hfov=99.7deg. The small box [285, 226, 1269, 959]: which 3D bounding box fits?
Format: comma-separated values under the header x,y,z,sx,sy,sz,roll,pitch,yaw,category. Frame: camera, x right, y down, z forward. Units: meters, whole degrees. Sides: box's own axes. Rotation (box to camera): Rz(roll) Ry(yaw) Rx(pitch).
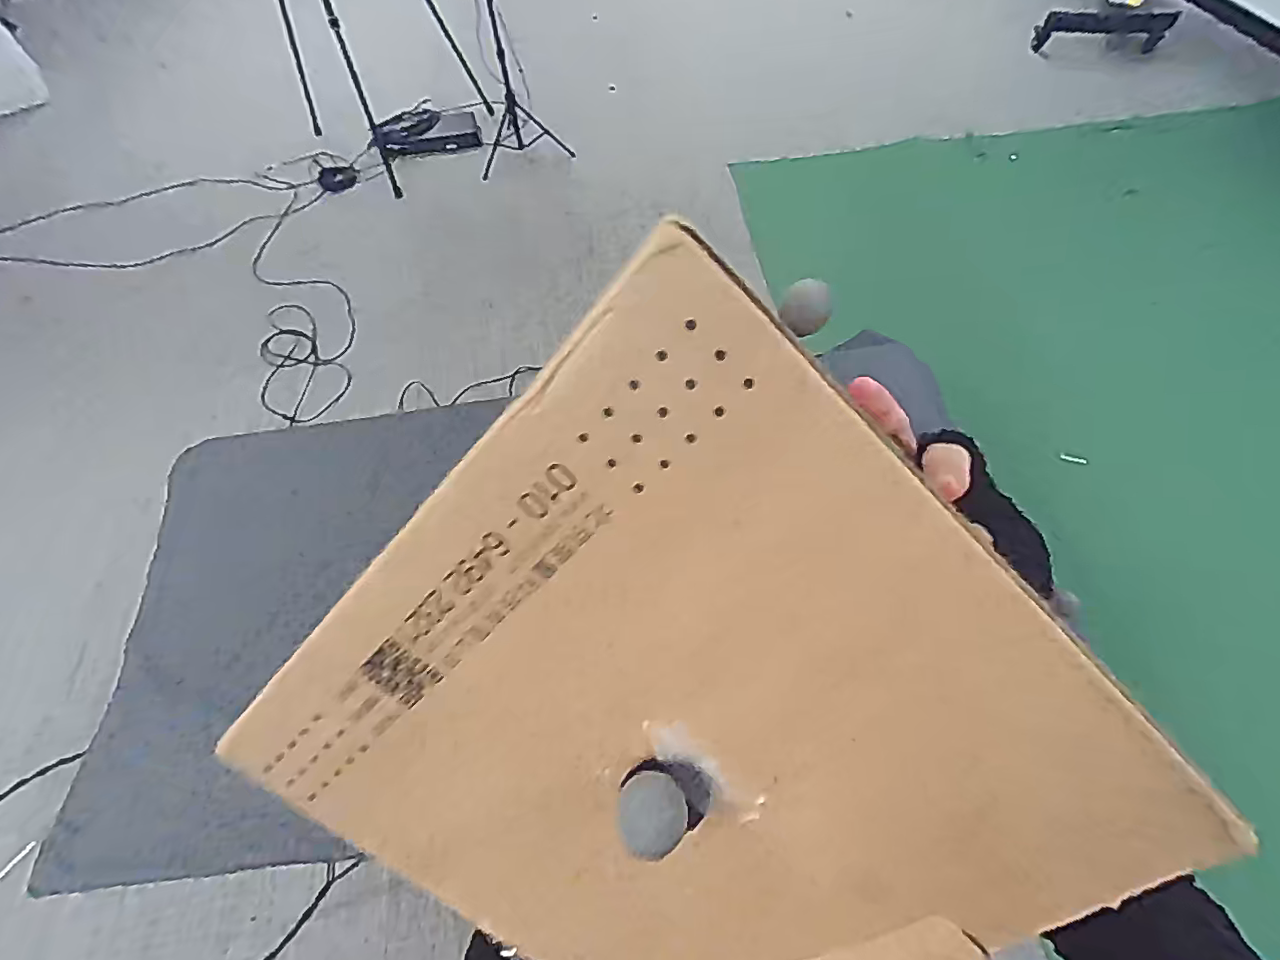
x,y,z,sx,sy,sz,roll,pitch,yaw,category
0.024,0.035,0.199,0.176,0.179,0.168,44,110,-9,small box
